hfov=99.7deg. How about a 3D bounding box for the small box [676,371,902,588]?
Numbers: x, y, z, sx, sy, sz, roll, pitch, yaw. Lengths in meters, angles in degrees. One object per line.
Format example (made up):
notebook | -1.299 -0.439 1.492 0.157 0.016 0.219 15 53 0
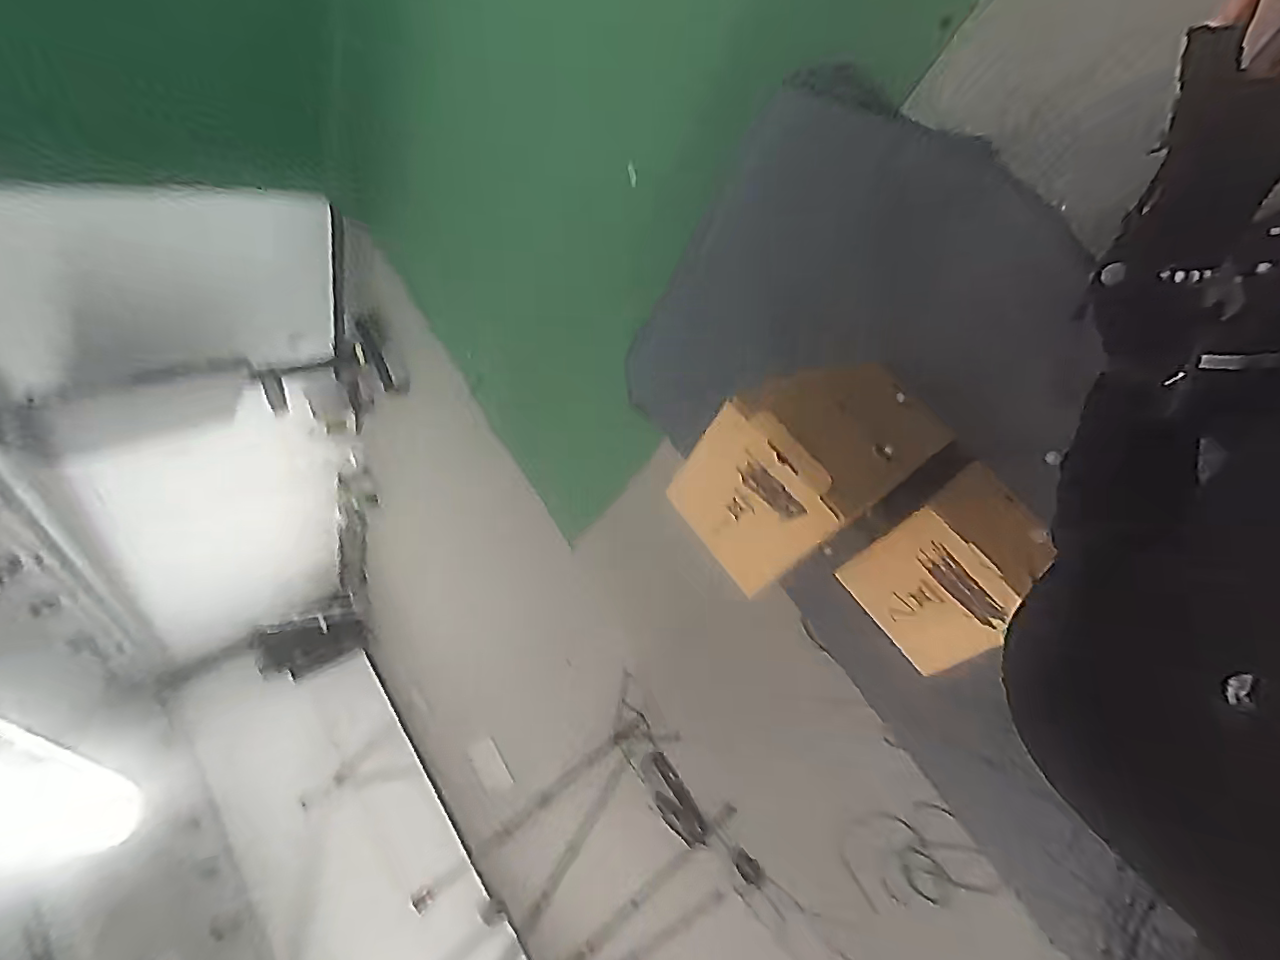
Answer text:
small box | 0.180 -0.007 0.648 0.168 0.176 0.179 52 140 18
